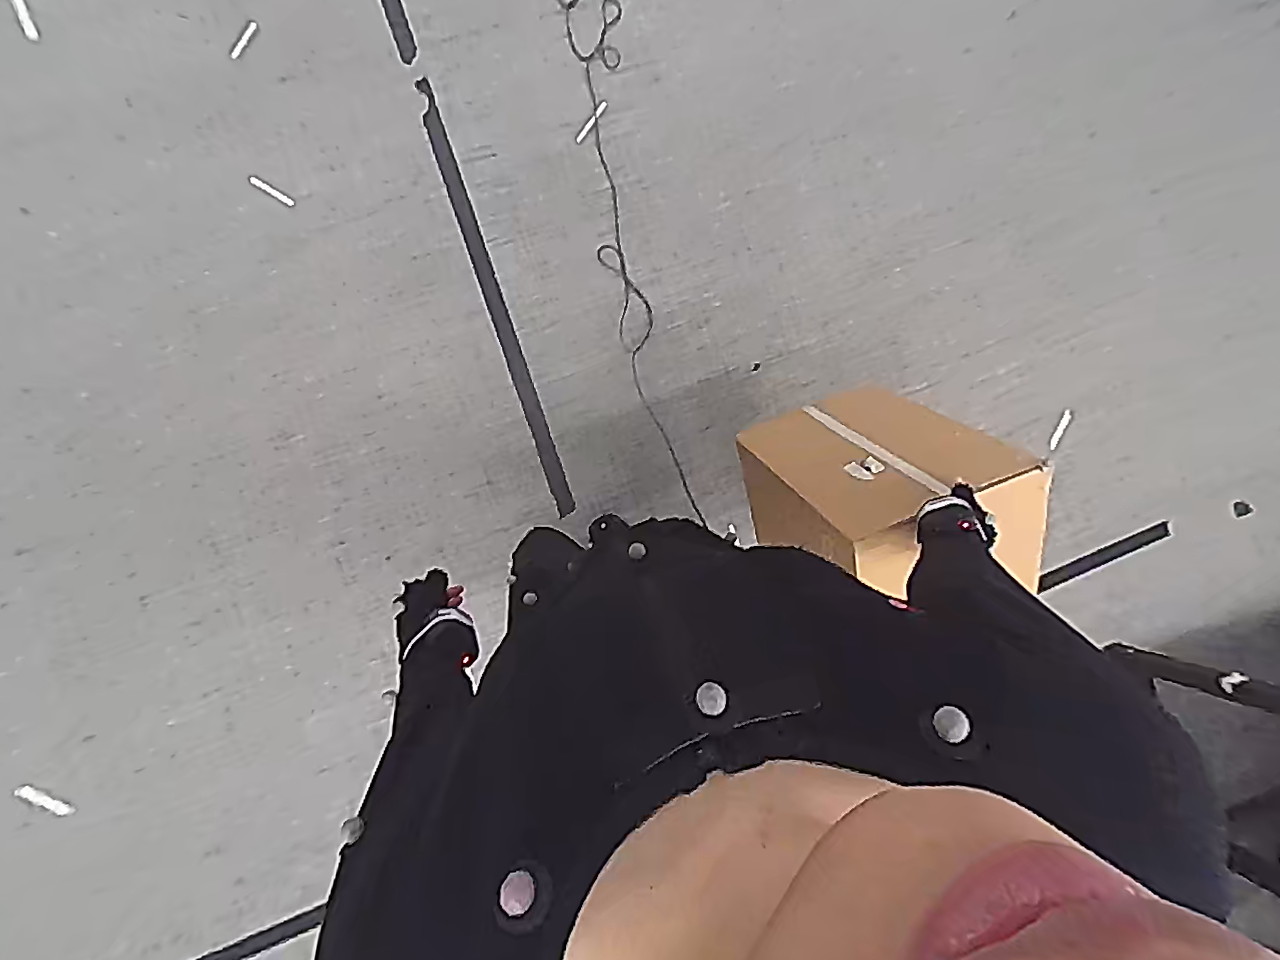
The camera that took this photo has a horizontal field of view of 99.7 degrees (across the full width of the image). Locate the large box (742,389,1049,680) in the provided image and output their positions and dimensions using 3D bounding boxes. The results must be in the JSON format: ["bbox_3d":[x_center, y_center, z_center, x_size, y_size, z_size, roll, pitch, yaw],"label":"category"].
[{"bbox_3d":[0.430,0.074,1.002,0.320,0.408,0.320,-21,121,-6],"label":"large box"}]
